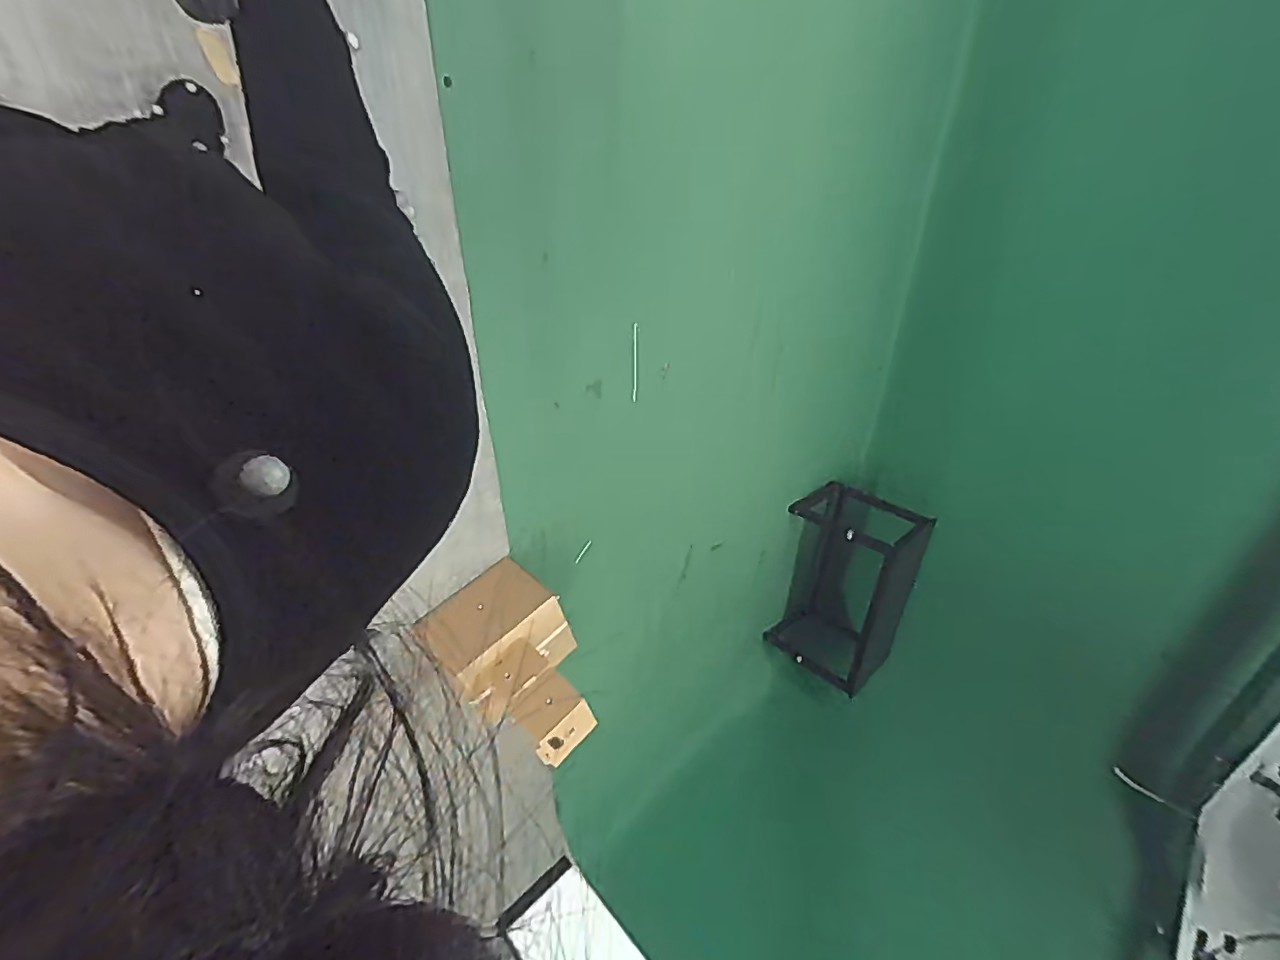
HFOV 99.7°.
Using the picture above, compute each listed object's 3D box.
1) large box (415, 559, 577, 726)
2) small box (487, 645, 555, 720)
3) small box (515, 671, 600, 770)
[{"bbox_3d":[-0.503,0.563,1.924,0.408,0.320,0.320,-39,136,-28],"label":"large box"},{"bbox_3d":[-0.366,0.662,1.741,0.168,0.176,0.179,-37,134,-28],"label":"small box"},{"bbox_3d":[-0.255,0.723,1.637,0.179,0.176,0.168,-38,134,-27],"label":"small box"}]
